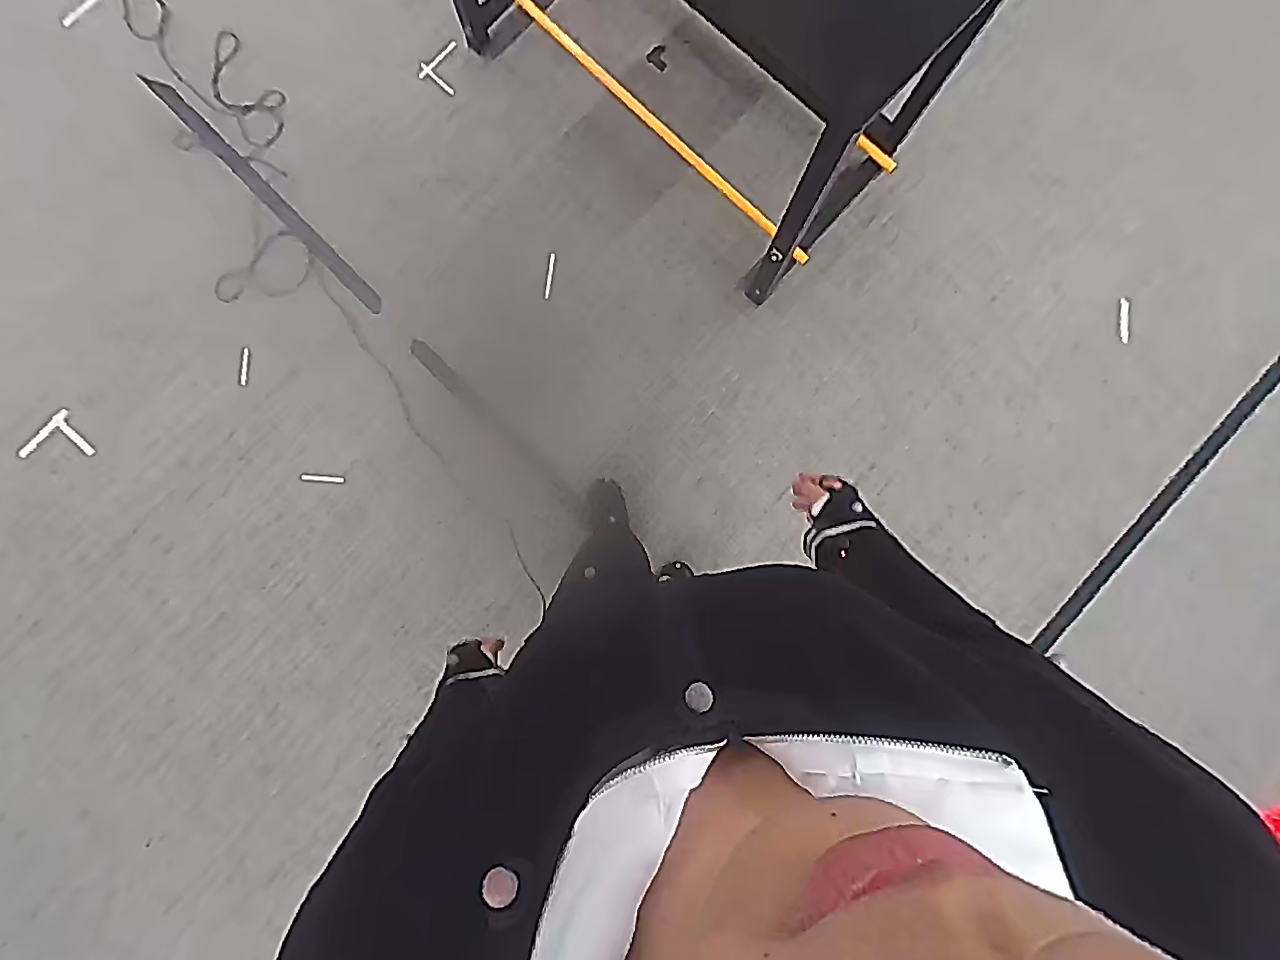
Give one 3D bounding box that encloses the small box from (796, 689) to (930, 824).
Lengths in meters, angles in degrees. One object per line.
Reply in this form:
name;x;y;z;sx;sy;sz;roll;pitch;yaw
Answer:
small box;0.463;0.574;1.157;0.179;0.176;0.168;36;85;3
